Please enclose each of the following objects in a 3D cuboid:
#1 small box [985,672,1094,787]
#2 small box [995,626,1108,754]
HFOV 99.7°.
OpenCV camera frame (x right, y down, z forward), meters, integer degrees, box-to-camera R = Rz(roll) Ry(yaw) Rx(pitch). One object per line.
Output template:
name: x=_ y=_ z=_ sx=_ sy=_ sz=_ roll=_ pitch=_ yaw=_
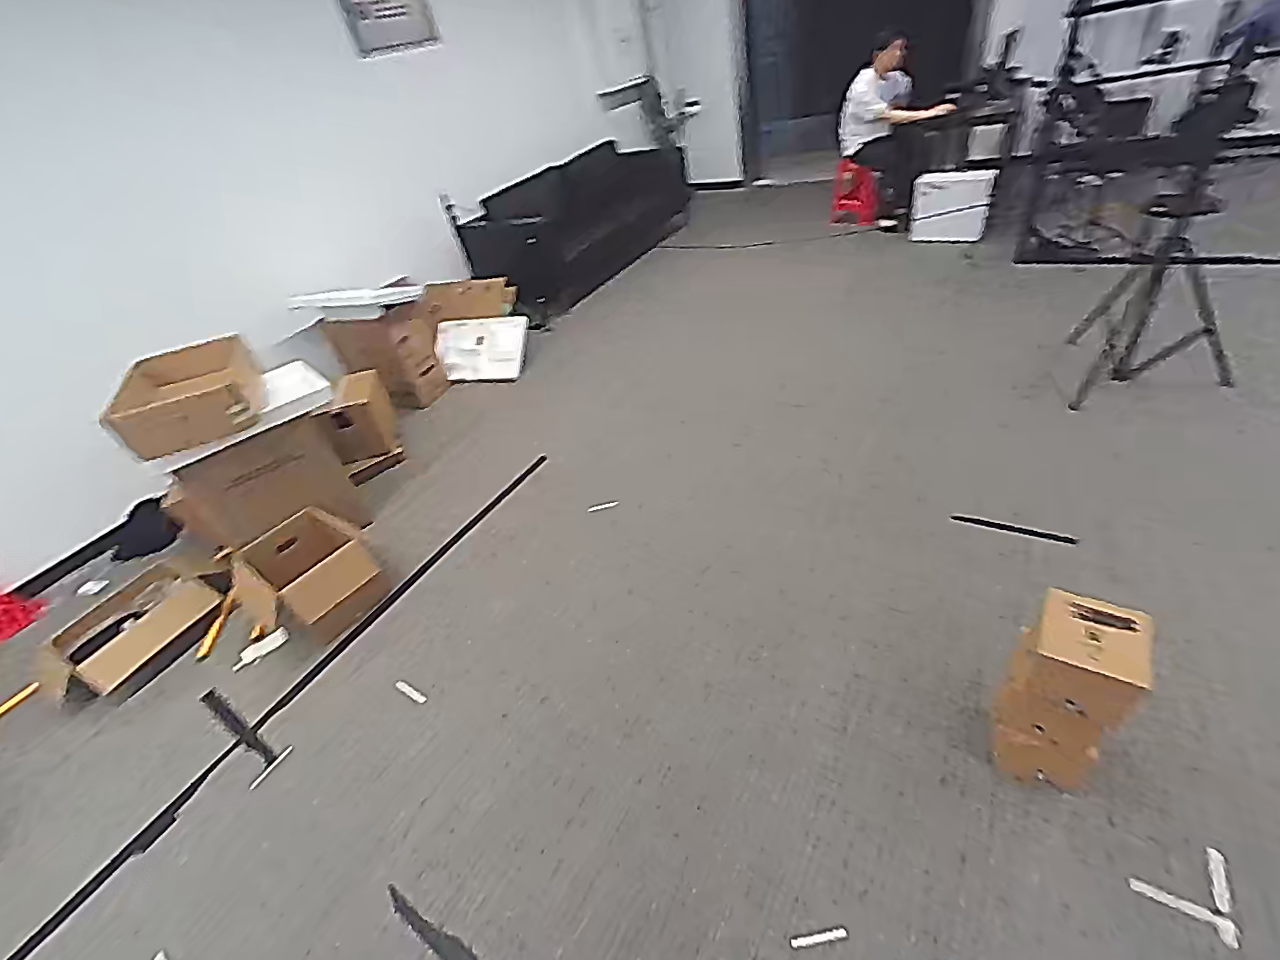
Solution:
small box: x=0.947 y=0.597 z=1.299 sx=0.168 sy=0.176 sz=0.179 roll=4 pitch=41 yaw=23
small box: x=0.913 y=0.467 z=1.207 sx=0.168 sy=0.176 sz=0.179 roll=14 pitch=46 yaw=31
